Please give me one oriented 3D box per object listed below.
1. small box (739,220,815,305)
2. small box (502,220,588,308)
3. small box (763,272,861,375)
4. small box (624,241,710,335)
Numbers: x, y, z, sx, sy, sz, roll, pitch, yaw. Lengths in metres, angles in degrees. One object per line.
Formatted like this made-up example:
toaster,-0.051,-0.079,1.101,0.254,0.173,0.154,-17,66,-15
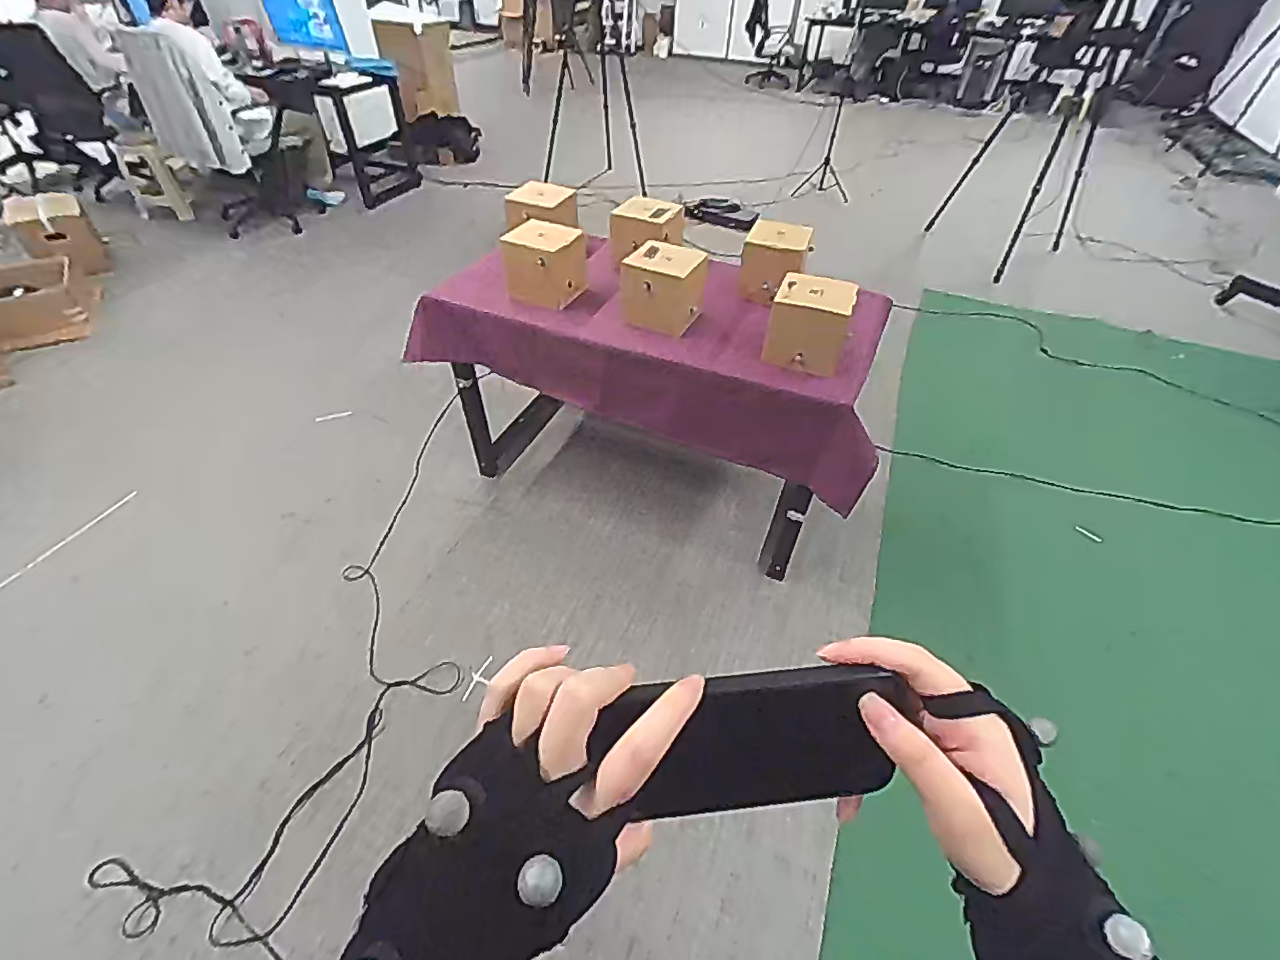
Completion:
small box,0.392,-0.625,1.561,0.168,0.176,0.179,16,48,14
small box,-0.261,-0.606,1.523,0.179,0.176,0.168,20,48,16
small box,0.416,-0.378,1.320,0.179,0.176,0.168,18,47,15
small box,0.068,-0.509,1.438,0.179,0.176,0.168,21,49,17
